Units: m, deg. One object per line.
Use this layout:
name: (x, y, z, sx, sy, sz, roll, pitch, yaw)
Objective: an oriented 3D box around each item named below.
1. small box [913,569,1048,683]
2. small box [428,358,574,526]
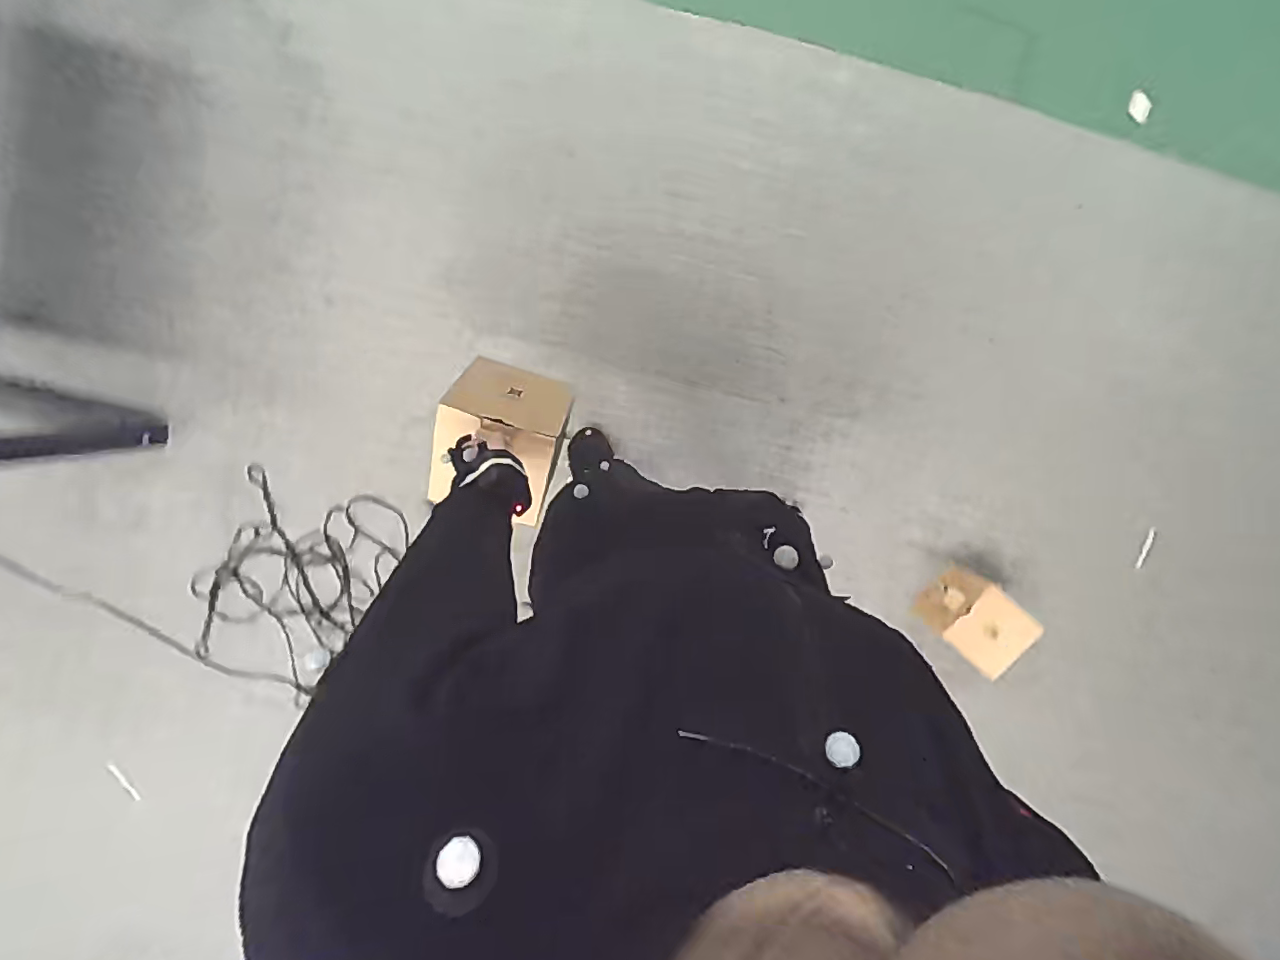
small box: (0.812, 0.343, 1.308, 0.179, 0.176, 0.168, 40, 98, -5)
small box: (-0.209, -0.056, 0.821, 0.168, 0.179, 0.176, 16, 125, -6)
